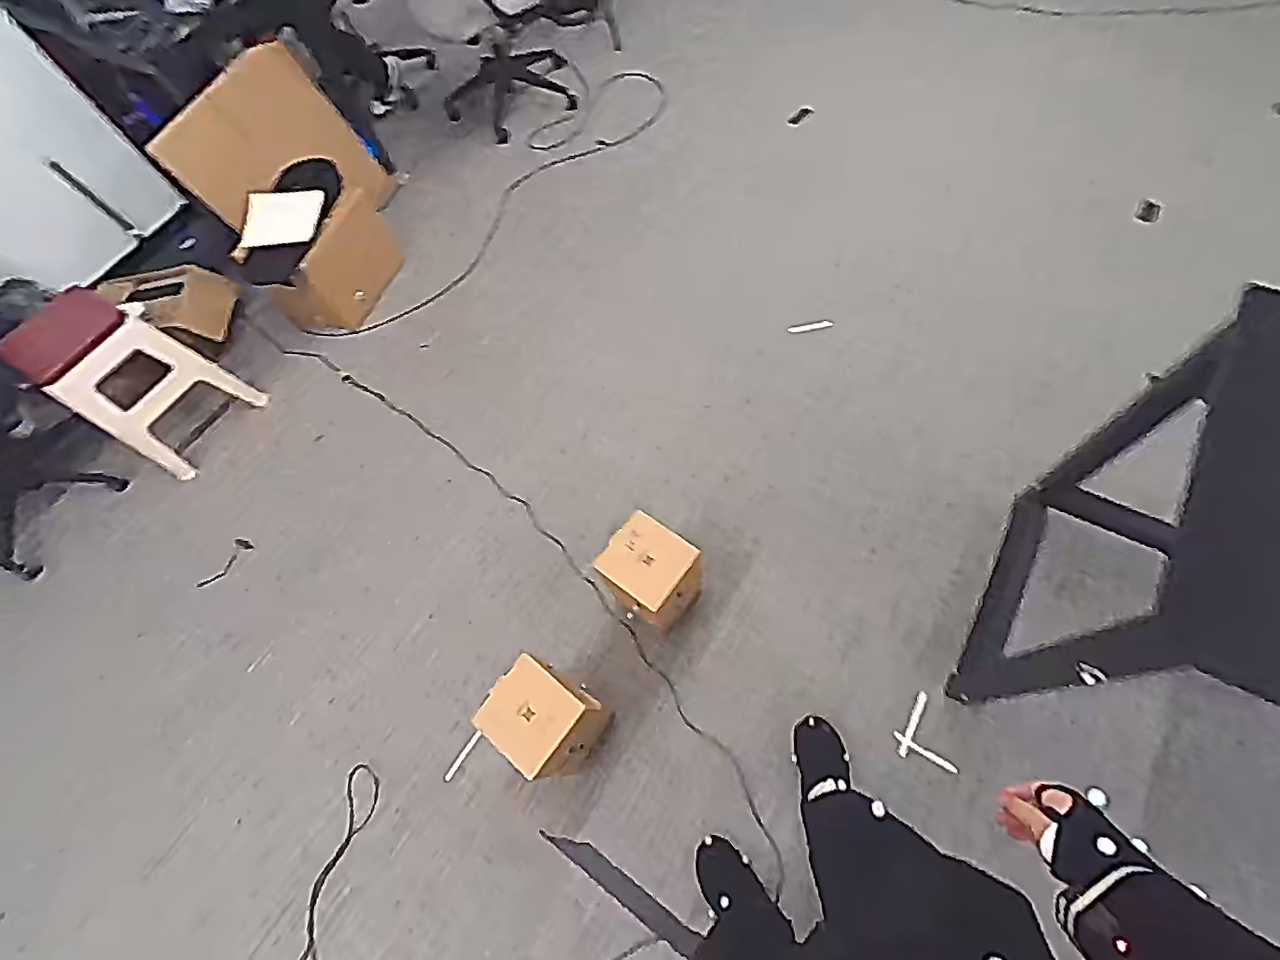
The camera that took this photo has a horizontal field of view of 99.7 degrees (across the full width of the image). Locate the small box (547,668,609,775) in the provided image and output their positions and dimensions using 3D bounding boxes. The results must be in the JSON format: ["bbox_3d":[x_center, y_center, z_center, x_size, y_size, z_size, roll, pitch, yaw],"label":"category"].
[{"bbox_3d":[-0.191,0.565,1.278,0.168,0.176,0.179,28,72,20],"label":"small box"}]

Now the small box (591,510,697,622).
[{"bbox_3d":[0.018,0.204,1.238,0.179,0.176,0.168,33,71,22],"label":"small box"}]

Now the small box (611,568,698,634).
[{"bbox_3d":[0.033,0.268,1.390,0.168,0.176,0.179,36,74,23],"label":"small box"}]

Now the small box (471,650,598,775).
[{"bbox_3d":[-0.213,0.488,1.135,0.179,0.176,0.168,33,73,20],"label":"small box"}]
